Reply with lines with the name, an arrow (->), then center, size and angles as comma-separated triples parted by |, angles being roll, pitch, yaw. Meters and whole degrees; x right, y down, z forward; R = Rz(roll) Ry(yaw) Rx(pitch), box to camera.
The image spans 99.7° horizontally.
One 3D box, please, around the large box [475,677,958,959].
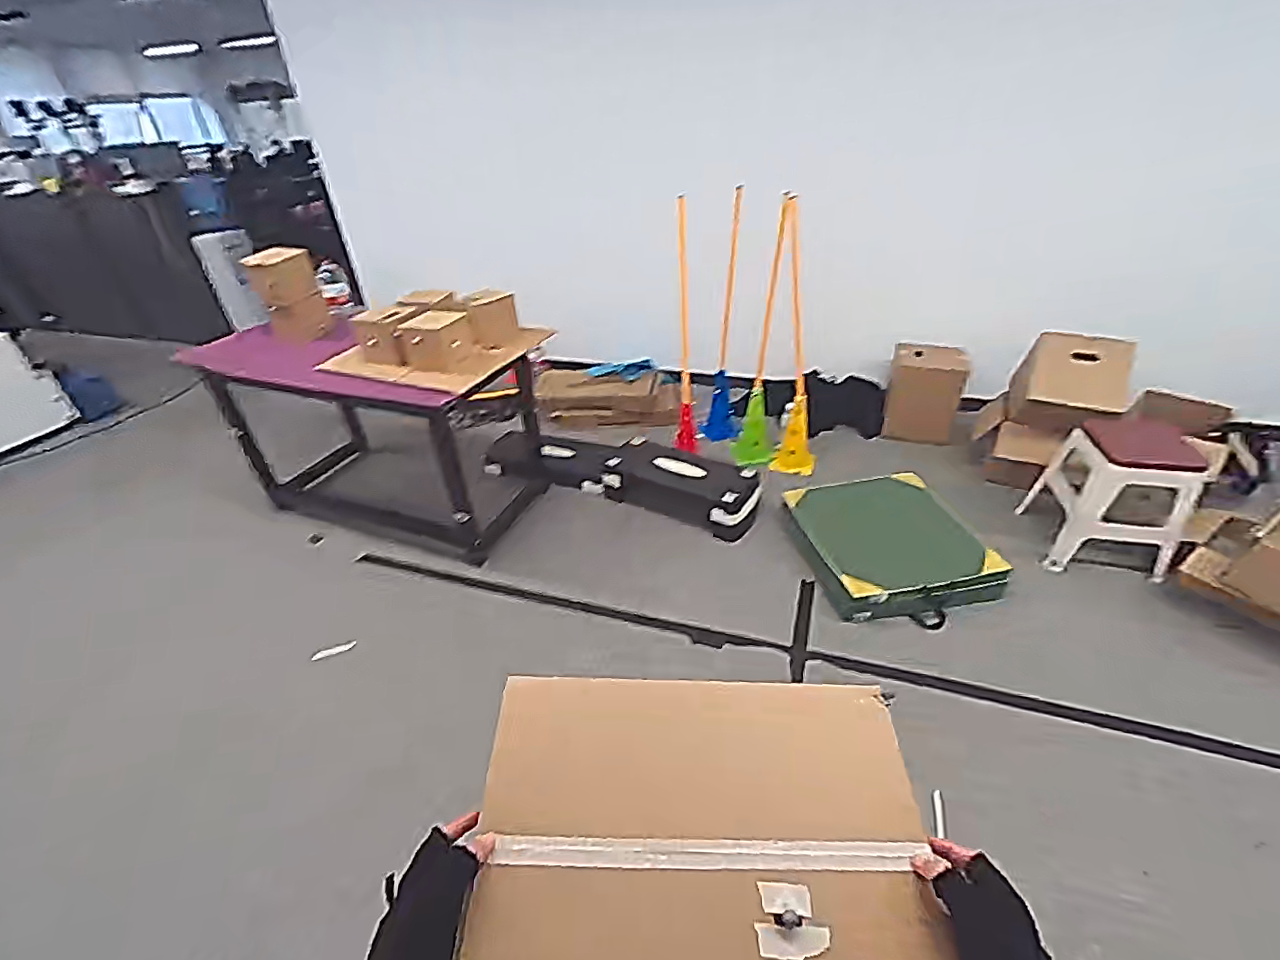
large box -> 0.061, 0.437, 0.600 | 0.408, 0.320, 0.320 | 2, 46, 0
